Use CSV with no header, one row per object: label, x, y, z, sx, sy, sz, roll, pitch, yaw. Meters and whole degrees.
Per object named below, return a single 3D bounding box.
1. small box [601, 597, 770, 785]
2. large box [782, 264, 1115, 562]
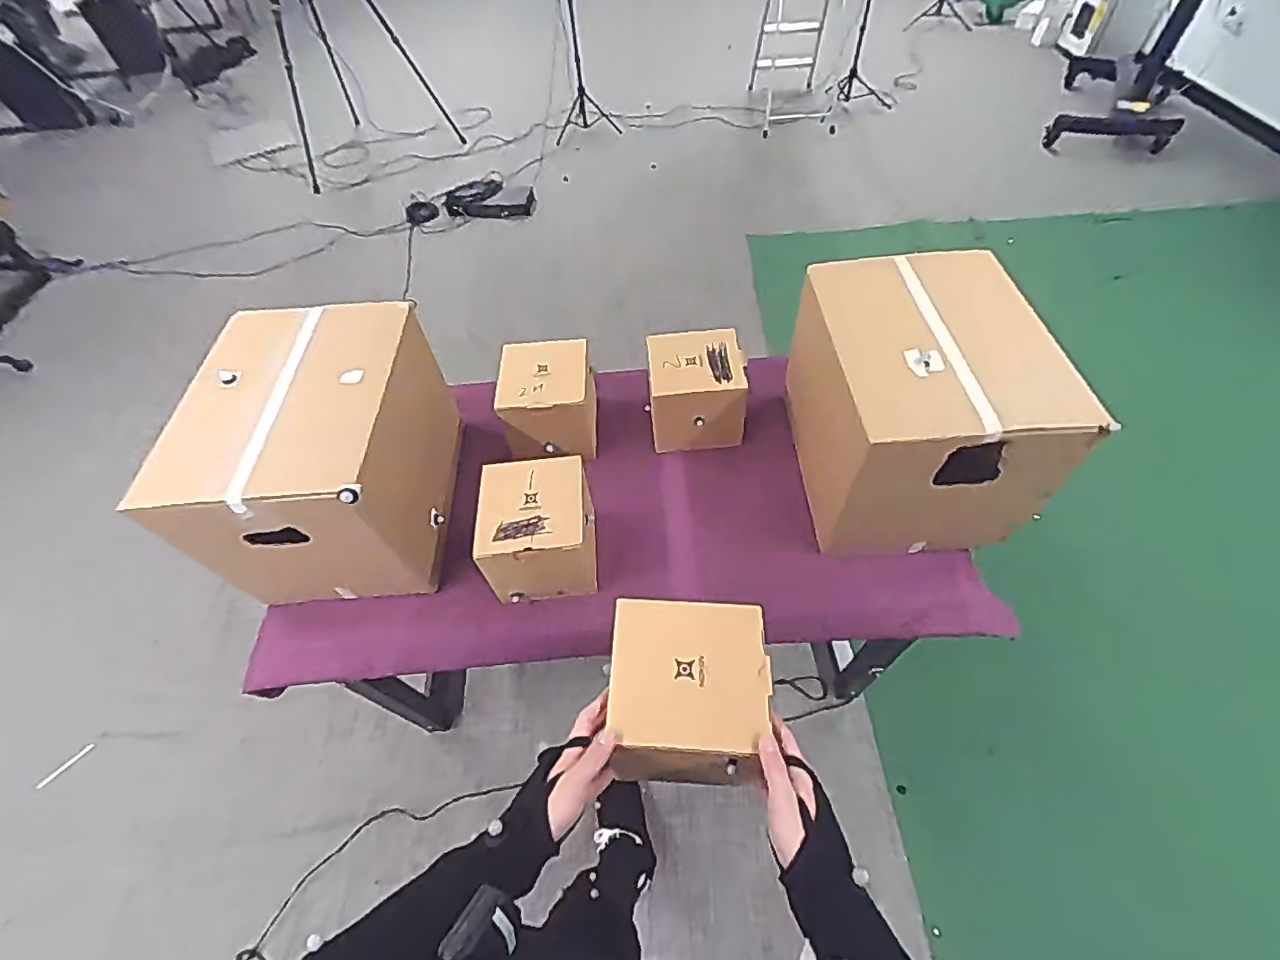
small box,0.052,0.259,0.658,0.179,0.176,0.168,3,50,2
large box,0.453,-0.112,0.925,0.320,0.320,0.408,-4,54,3
